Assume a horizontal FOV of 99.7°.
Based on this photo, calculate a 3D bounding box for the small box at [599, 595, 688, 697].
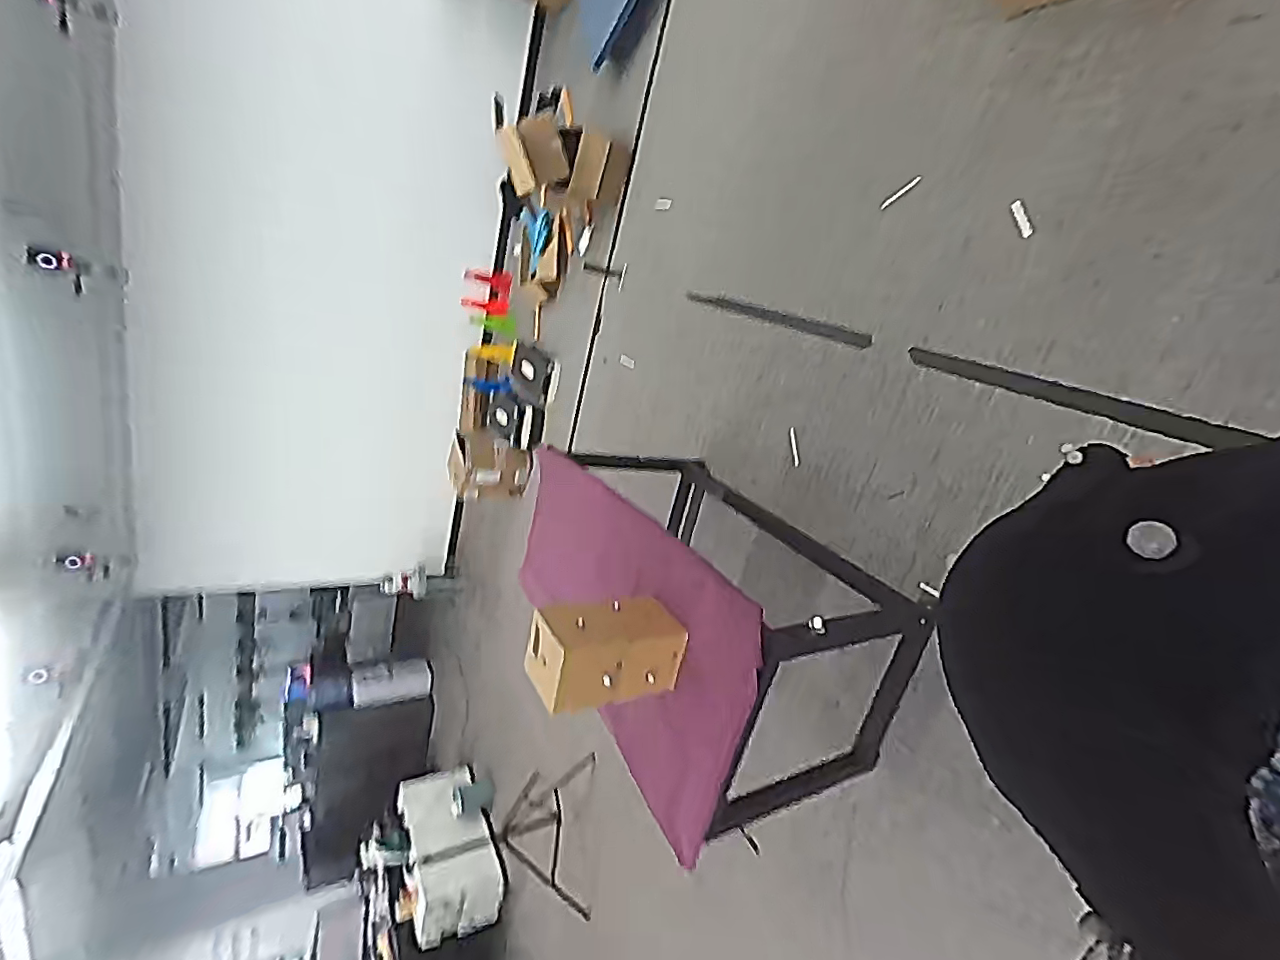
[{"bbox_3d":[-0.004,0.398,1.332,0.179,0.176,0.168,35,117,52],"label":"small box"}]

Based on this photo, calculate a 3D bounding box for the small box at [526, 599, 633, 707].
[{"bbox_3d":[-0.141,0.387,1.241,0.179,0.176,0.168,34,117,52],"label":"small box"}]
